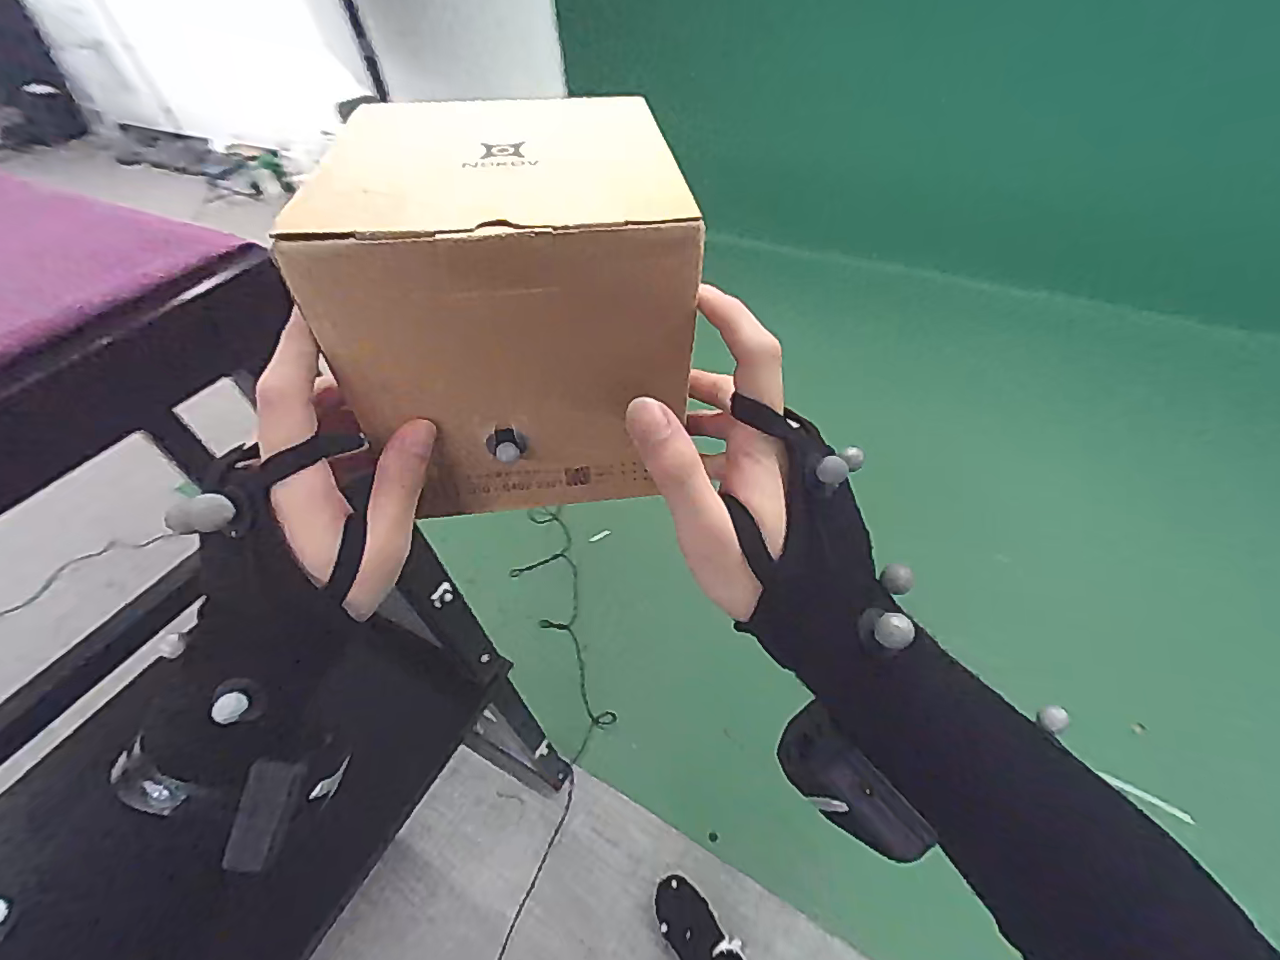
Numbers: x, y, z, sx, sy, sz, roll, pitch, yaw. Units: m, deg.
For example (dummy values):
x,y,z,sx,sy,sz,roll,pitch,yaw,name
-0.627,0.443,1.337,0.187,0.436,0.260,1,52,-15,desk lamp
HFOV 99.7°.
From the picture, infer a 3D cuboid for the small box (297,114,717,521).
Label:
x,y,z,sx,sy,sz,roll,pitch,yaw,name
-0.061,-0.098,0.324,0.168,0.176,0.179,-5,49,-5,small box
